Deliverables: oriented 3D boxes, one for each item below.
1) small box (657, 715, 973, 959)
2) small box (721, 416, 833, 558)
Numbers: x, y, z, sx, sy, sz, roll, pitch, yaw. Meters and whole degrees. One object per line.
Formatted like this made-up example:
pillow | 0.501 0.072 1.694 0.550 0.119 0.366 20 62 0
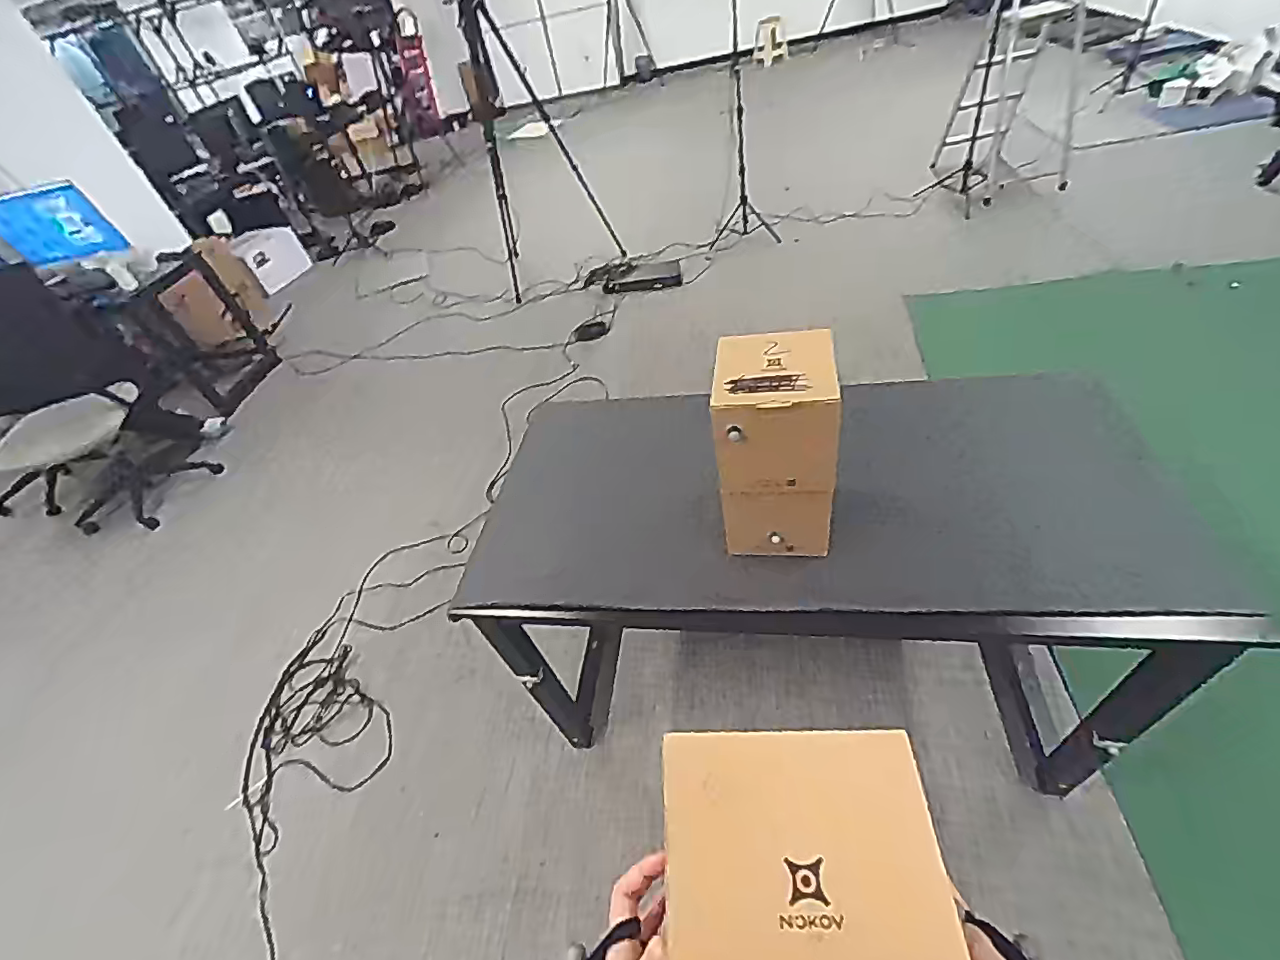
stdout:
small box | 0.094 0.275 0.366 0.168 0.176 0.179 -2 51 2
small box | 0.231 0.010 0.920 0.168 0.176 0.179 -1 44 15
